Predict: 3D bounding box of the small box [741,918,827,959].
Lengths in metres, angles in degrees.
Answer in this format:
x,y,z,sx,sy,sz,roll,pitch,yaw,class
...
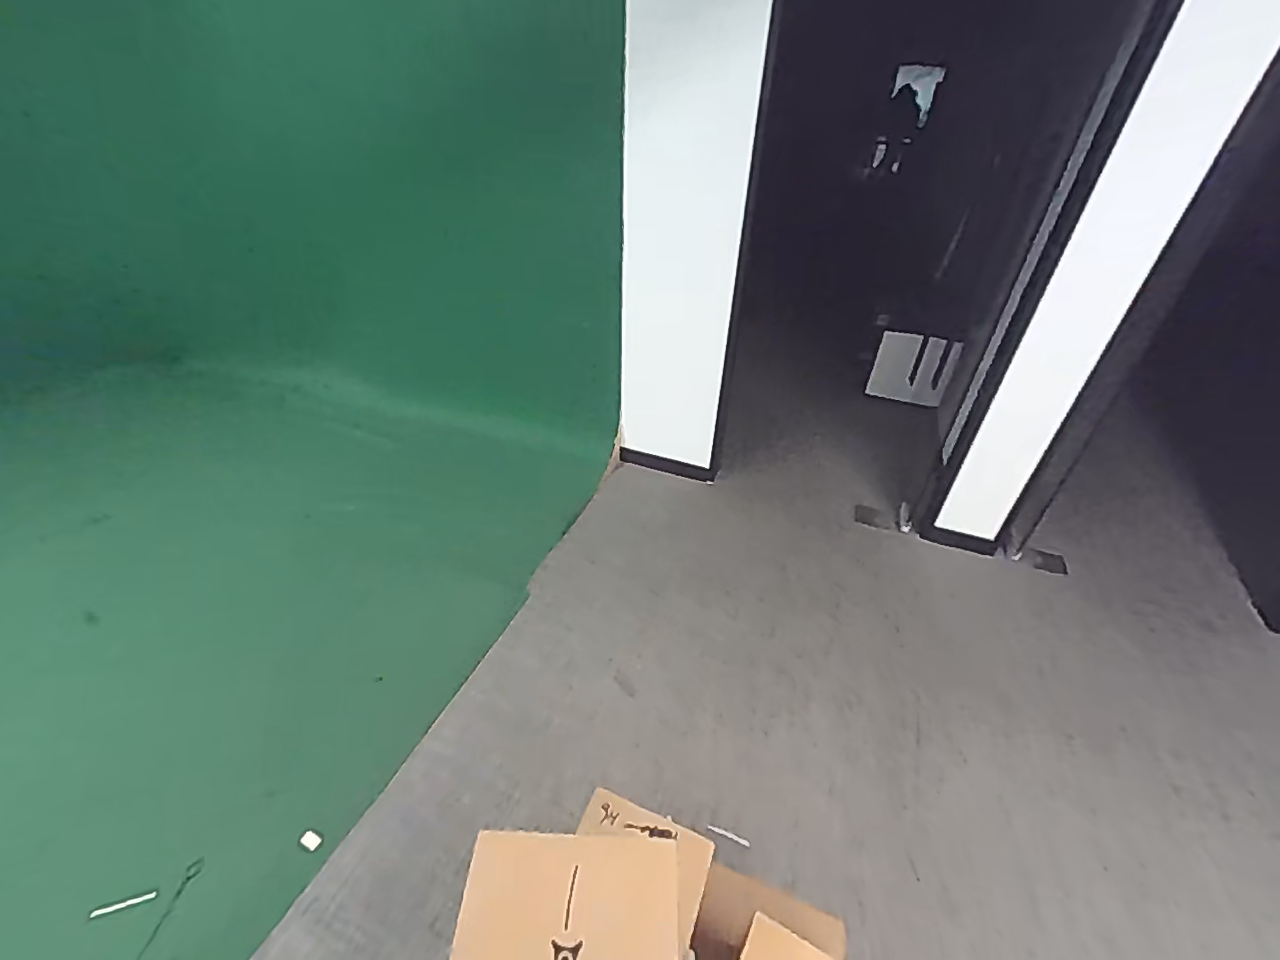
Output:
x,y,z,sx,sy,sz,roll,pitch,yaw,class
0.191,0.732,0.696,0.168,0.176,0.179,18,39,23,small box

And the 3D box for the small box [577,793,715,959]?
x,y,z,sx,sy,sz,roll,pitch,yaw,class
-0.017,0.541,0.671,0.168,0.176,0.179,17,40,15,small box

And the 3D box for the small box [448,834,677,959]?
x,y,z,sx,sy,sz,roll,pitch,yaw,class
-0.055,0.409,0.430,0.168,0.176,0.179,2,43,1,small box
